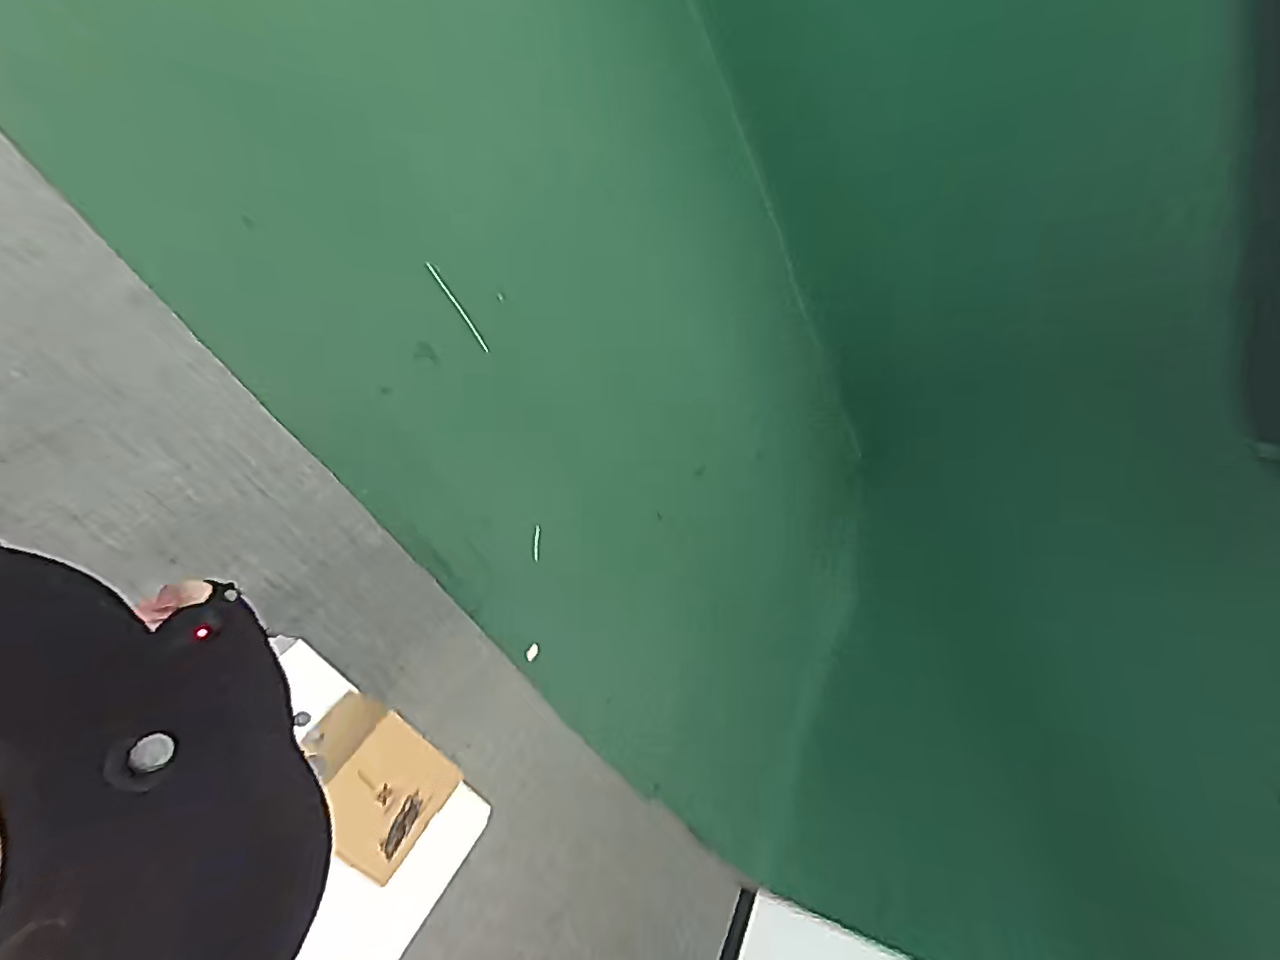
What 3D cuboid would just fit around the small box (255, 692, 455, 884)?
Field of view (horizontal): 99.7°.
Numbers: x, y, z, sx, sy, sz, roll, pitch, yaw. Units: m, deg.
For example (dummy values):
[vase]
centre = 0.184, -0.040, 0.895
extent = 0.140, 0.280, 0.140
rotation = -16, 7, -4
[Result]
[small box]
centre = -0.422, 0.444, 0.806
extent = 0.168, 0.176, 0.179
rotation = -51, 122, -38
